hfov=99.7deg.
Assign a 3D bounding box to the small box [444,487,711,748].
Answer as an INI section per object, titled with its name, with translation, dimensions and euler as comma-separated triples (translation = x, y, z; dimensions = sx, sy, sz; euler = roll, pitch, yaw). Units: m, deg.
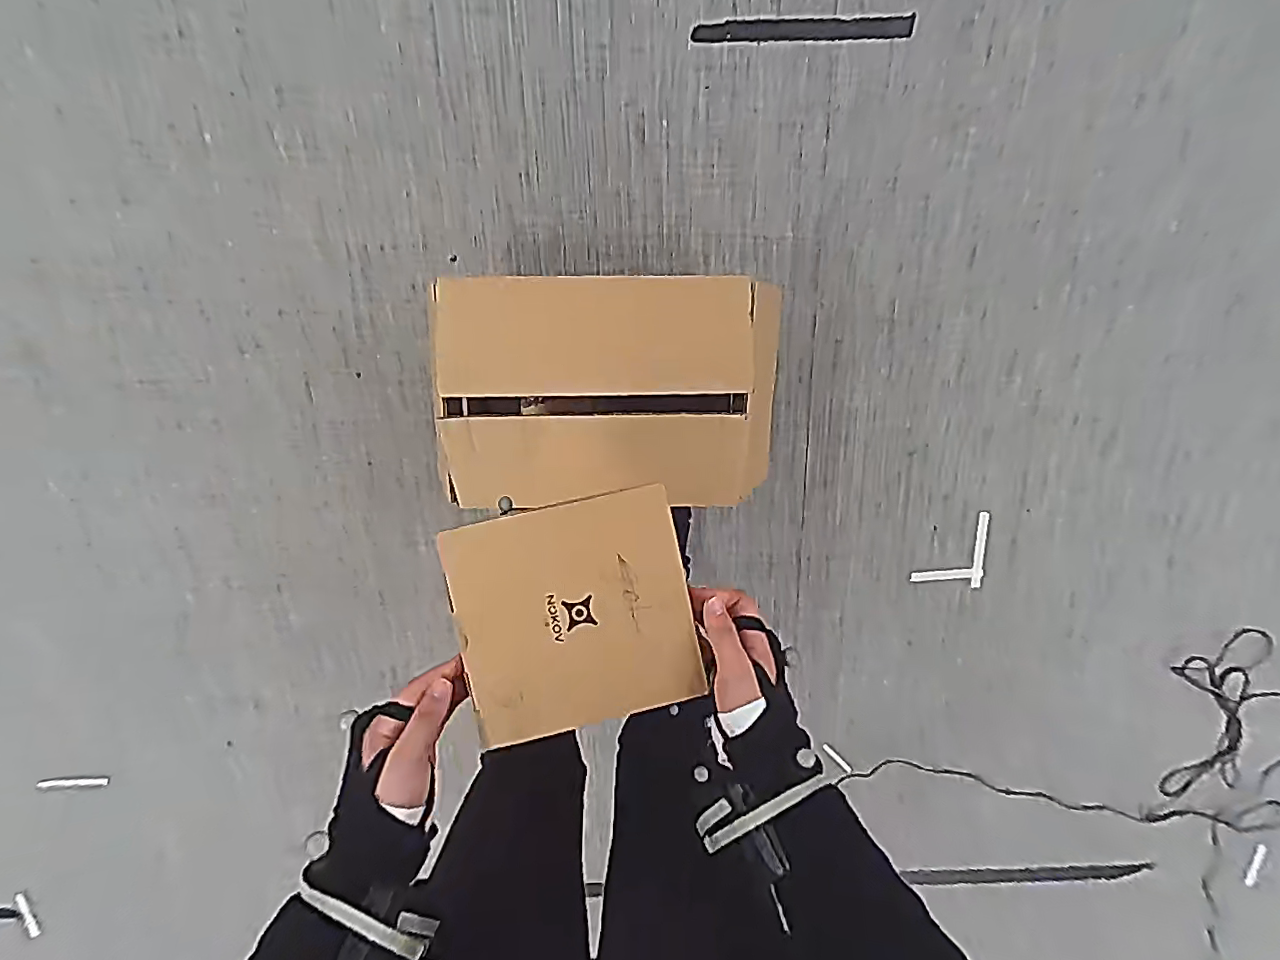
[small box]
translation = -0.052, 0.104, 0.488
dimensions = 0.179, 0.176, 0.168
euler = -13, 91, -6
